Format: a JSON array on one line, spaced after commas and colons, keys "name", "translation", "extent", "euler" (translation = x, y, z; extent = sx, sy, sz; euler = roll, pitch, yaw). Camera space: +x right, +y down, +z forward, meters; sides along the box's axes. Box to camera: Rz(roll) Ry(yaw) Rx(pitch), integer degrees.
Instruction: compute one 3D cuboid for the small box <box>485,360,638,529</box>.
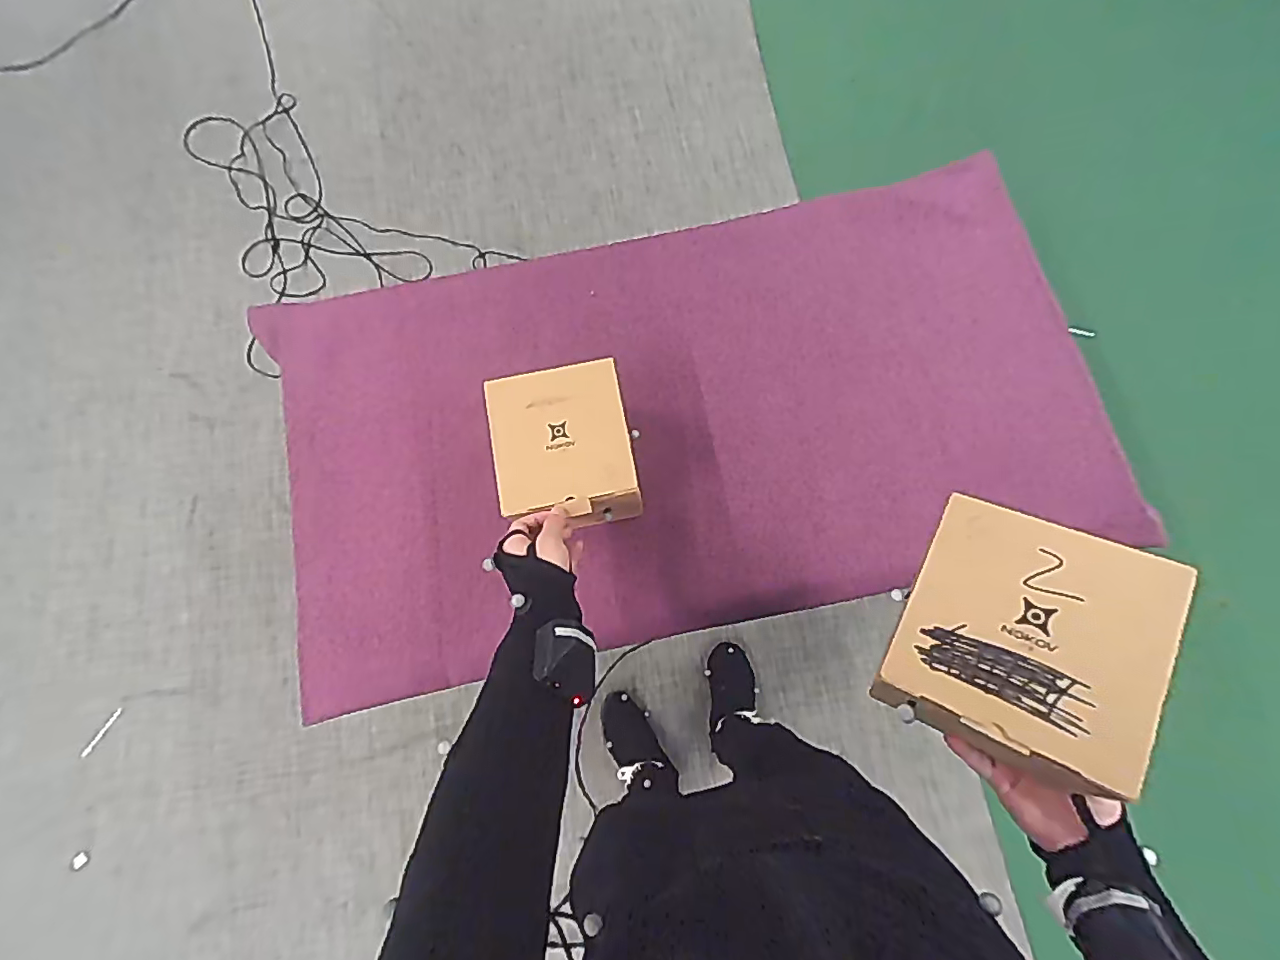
[{"name": "small box", "translation": [-0.097, -0.036, 0.733], "extent": [0.168, 0.176, 0.179], "euler": [-10, 75, -2]}]
